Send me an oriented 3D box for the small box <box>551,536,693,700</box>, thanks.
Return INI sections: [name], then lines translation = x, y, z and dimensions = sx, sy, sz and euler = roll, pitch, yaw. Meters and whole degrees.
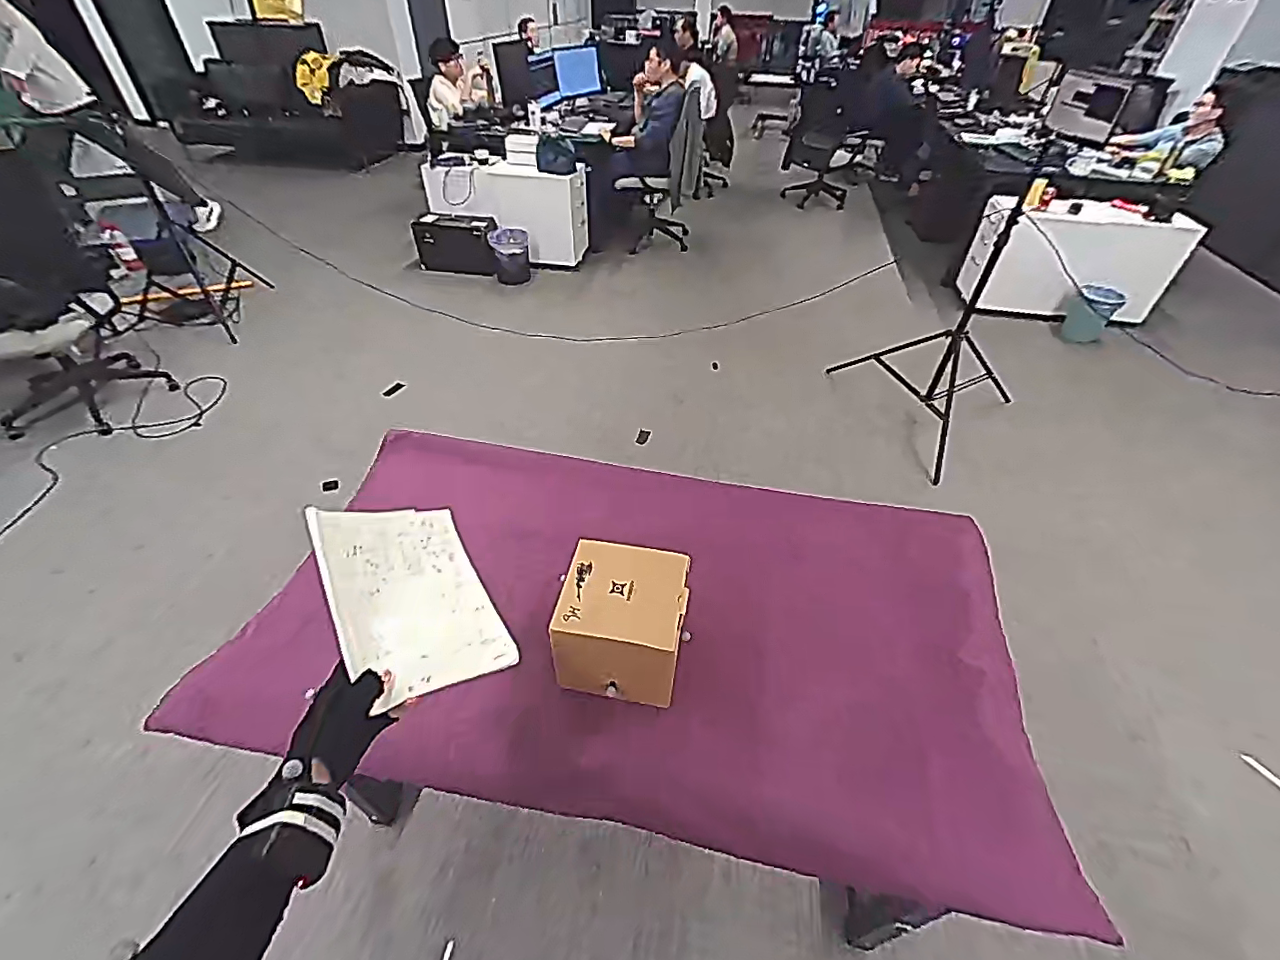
[small box]
translation = -0.023, 0.213, 0.826
dimensions = 0.179, 0.176, 0.168
euler = 9, 42, 7
